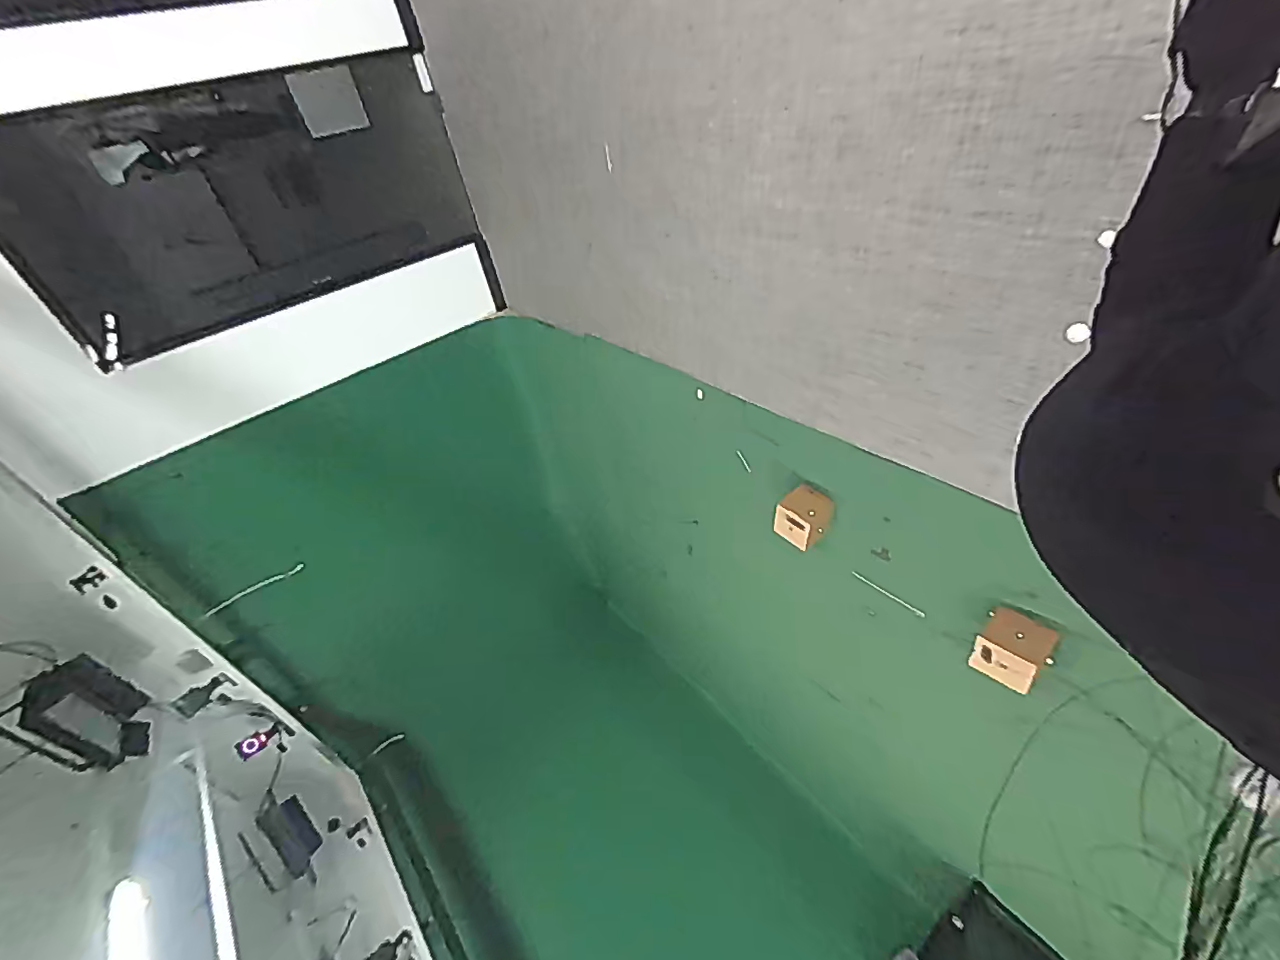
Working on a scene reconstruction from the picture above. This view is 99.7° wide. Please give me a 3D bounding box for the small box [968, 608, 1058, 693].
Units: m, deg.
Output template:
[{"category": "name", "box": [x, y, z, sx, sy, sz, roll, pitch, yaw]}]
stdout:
[{"category": "small box", "box": [1.220, 0.549, 1.772, 0.179, 0.176, 0.168, 29, 144, 41]}]
